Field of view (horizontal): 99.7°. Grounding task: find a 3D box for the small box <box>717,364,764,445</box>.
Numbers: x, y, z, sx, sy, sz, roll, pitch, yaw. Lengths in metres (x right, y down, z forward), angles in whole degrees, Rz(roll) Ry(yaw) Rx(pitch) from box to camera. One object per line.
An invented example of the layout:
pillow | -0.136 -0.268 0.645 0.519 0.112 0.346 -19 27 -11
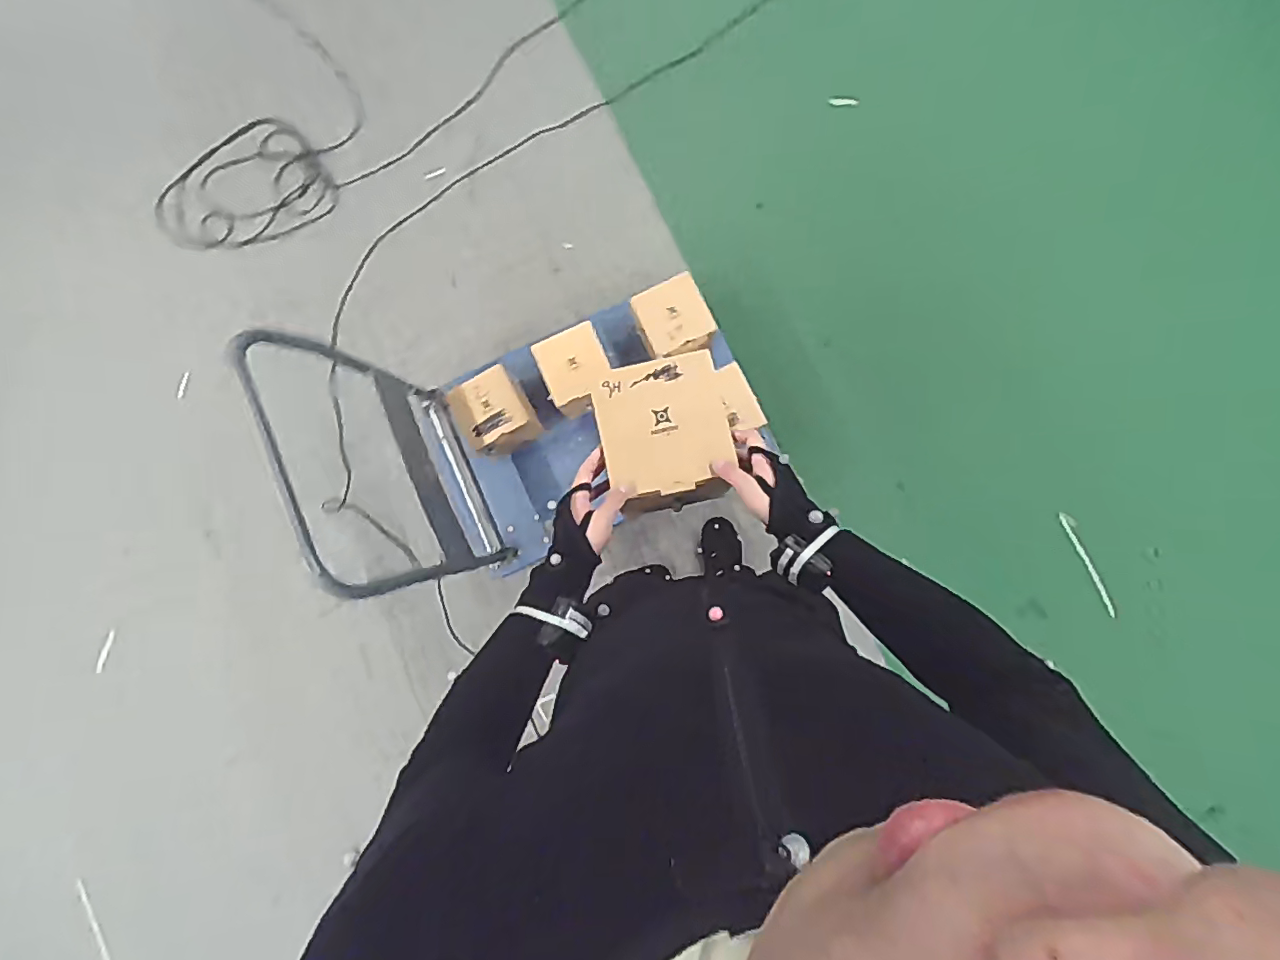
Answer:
small box | 0.207 -0.174 1.426 0.168 0.176 0.179 -26 83 0

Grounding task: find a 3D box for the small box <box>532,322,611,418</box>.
small box | -0.166 -0.286 1.445 0.168 0.176 0.179 -25 85 1

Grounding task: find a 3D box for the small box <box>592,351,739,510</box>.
small box | 0.035 -0.058 0.771 0.168 0.176 0.179 -12 80 0

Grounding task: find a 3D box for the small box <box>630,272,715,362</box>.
small box | 0.085 -0.411 1.437 0.168 0.176 0.179 -26 84 2
